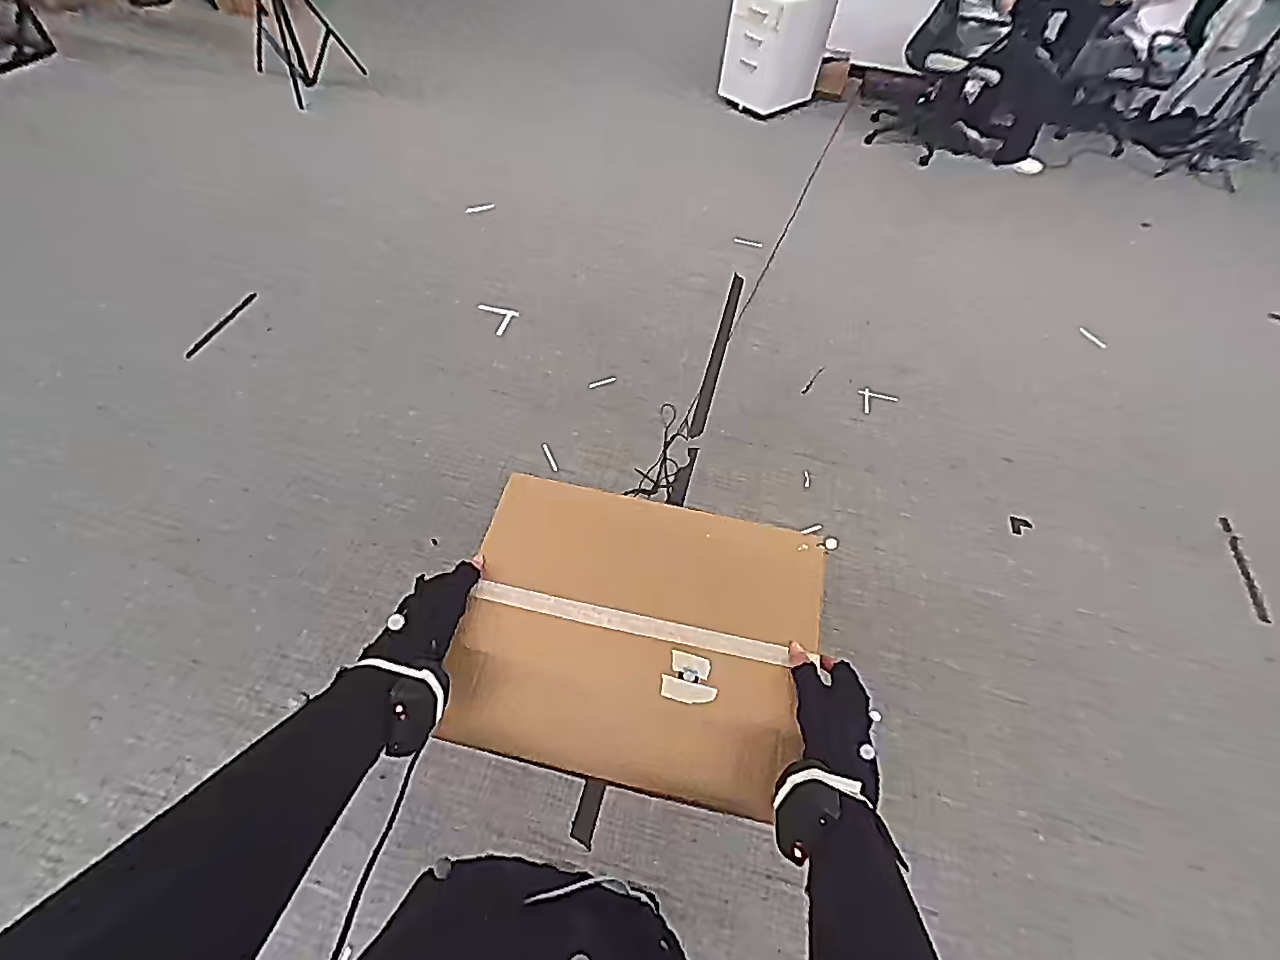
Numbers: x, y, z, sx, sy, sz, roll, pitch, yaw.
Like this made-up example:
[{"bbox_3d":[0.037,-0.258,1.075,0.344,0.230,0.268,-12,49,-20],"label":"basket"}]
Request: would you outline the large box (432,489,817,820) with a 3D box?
[{"bbox_3d":[-0.005,0.249,0.756,0.408,0.320,0.320,12,61,4],"label":"large box"}]
